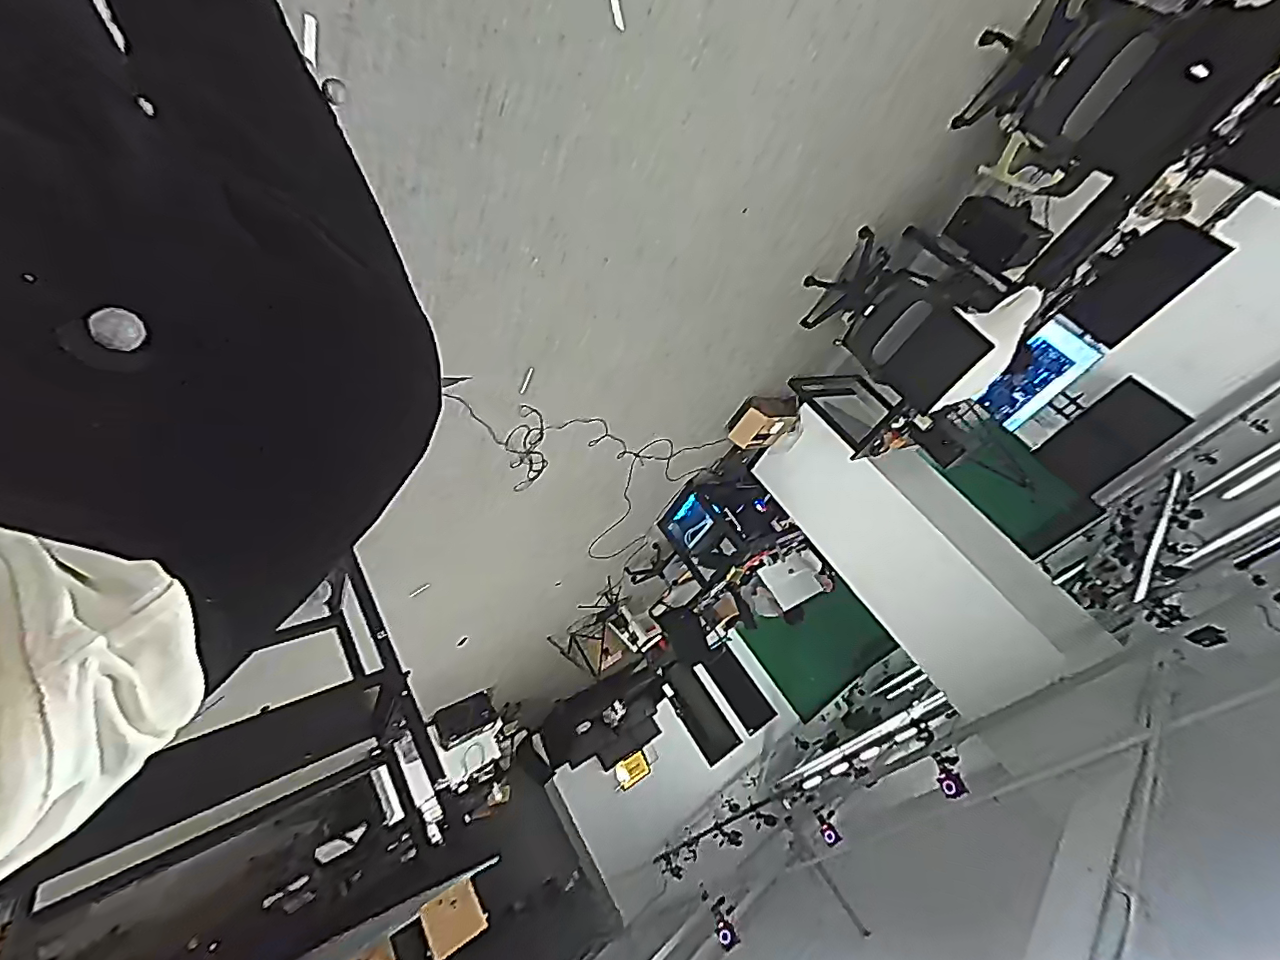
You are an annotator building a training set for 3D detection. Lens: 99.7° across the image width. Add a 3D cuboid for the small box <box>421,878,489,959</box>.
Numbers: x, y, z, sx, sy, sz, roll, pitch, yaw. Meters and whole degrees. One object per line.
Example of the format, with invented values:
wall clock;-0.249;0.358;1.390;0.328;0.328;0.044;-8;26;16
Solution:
small box;-0.629;1.486;1.825;0.168;0.176;0.179;-17;148;-34
